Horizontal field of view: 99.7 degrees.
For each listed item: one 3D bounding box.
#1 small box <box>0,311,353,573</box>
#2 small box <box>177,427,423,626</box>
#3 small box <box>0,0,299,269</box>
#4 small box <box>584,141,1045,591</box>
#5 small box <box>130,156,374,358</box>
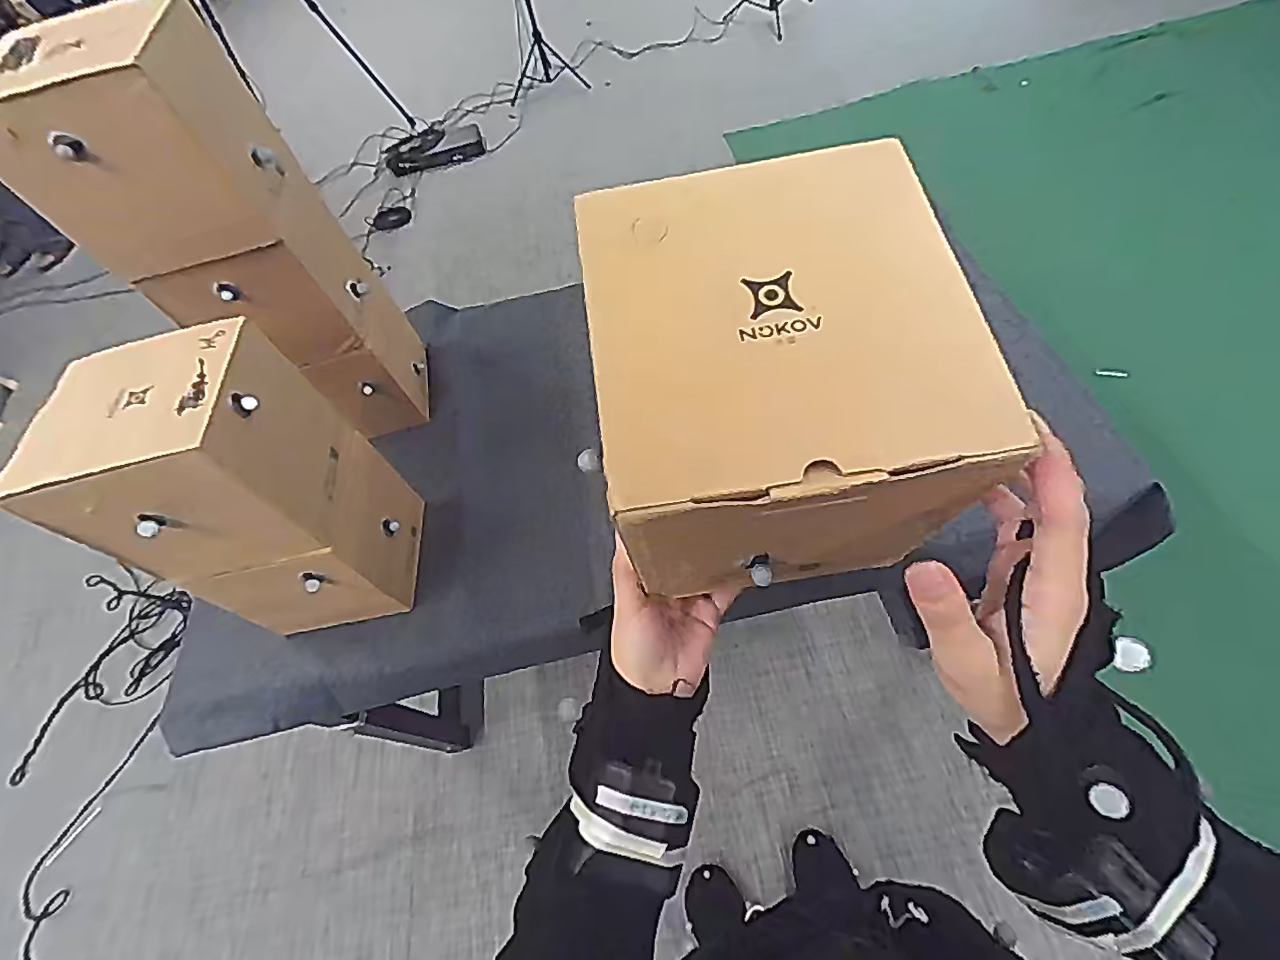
[{"bbox_3d":[-0.419,-0.028,0.527,0.179,0.176,0.168,-15,56,2],"label":"small box"},{"bbox_3d":[-0.389,0.063,0.660,0.179,0.176,0.168,-11,55,3],"label":"small box"},{"bbox_3d":[-0.487,-0.340,0.539,0.179,0.176,0.168,-14,60,1],"label":"small box"},{"bbox_3d":[0.067,-0.048,0.310,0.168,0.176,0.179,-9,68,1],"label":"small box"},{"bbox_3d":[-0.468,-0.265,0.684,0.179,0.176,0.168,-16,60,-1],"label":"small box"}]
